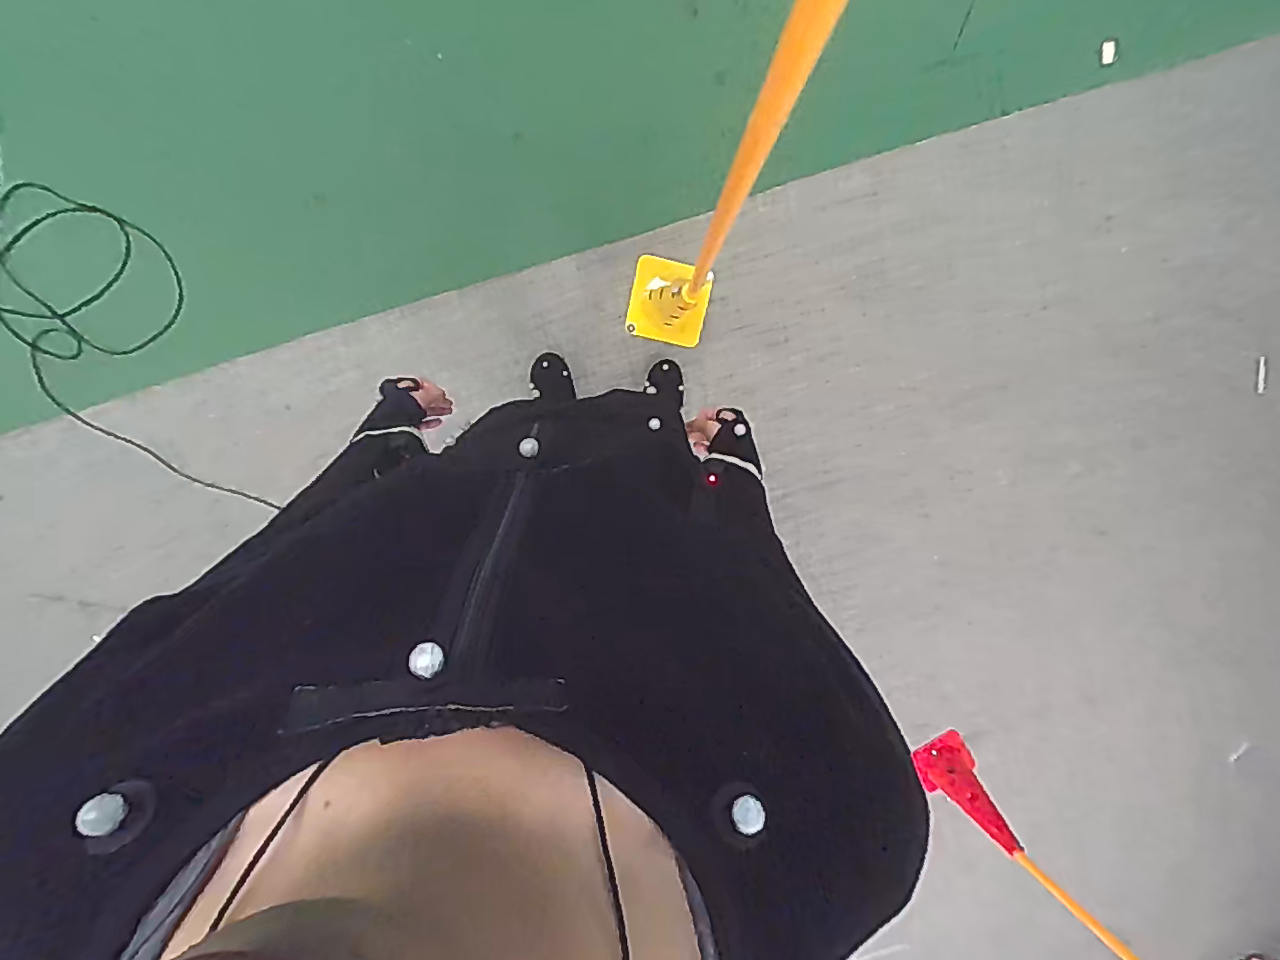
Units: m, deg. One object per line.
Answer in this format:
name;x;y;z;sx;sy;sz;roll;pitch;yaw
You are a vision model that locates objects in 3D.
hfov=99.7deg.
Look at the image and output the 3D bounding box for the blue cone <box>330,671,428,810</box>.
blue cone;-0.740;0.727;1.484;0.192;0.380;0.193;26;105;-13
